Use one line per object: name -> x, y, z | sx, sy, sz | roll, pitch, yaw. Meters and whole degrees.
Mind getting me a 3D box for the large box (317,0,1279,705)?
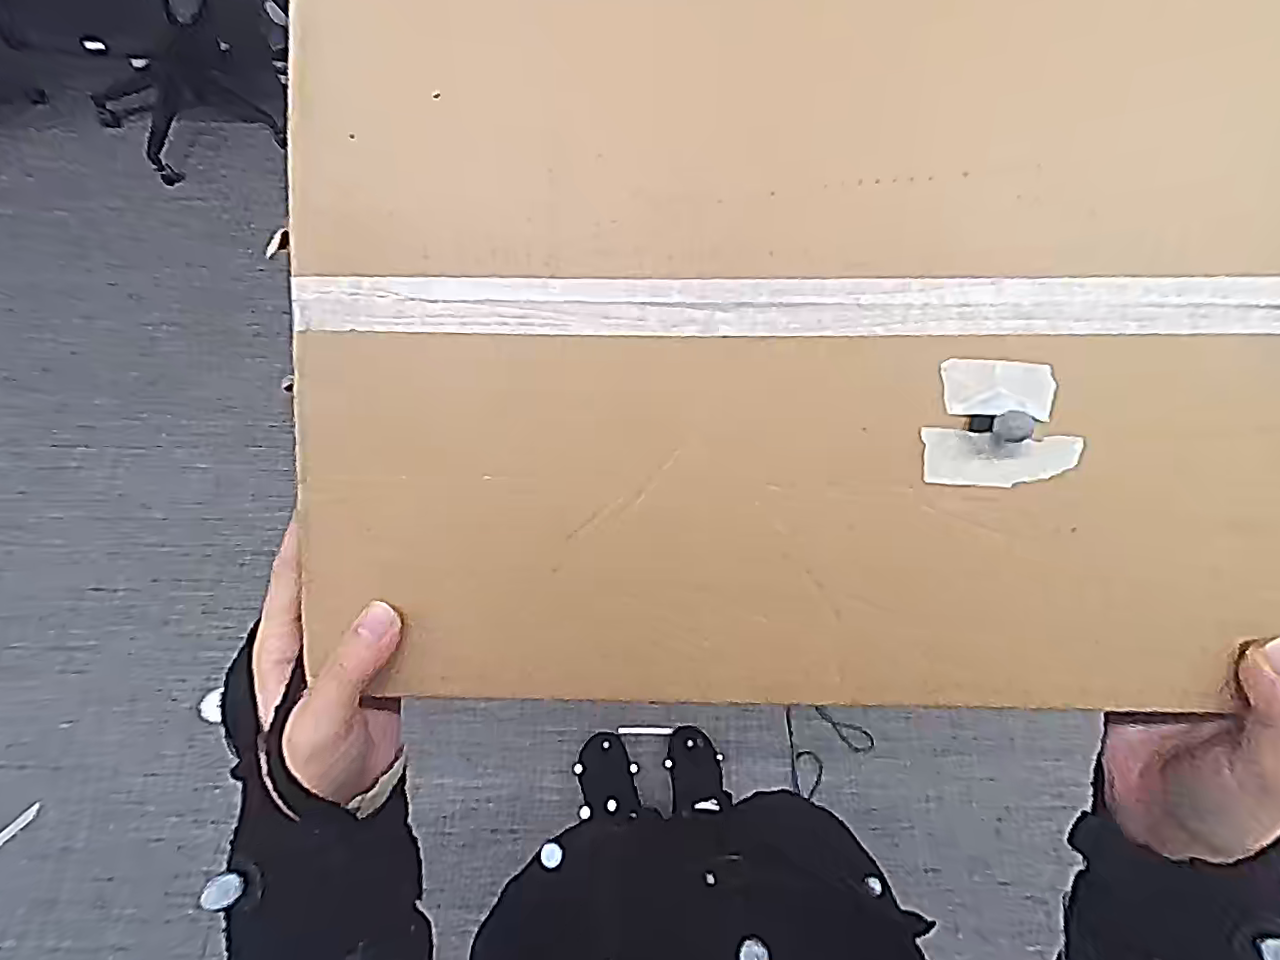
large box -> 0.068, -0.066, 0.368 | 0.408, 0.320, 0.320 | 0, 93, 0
